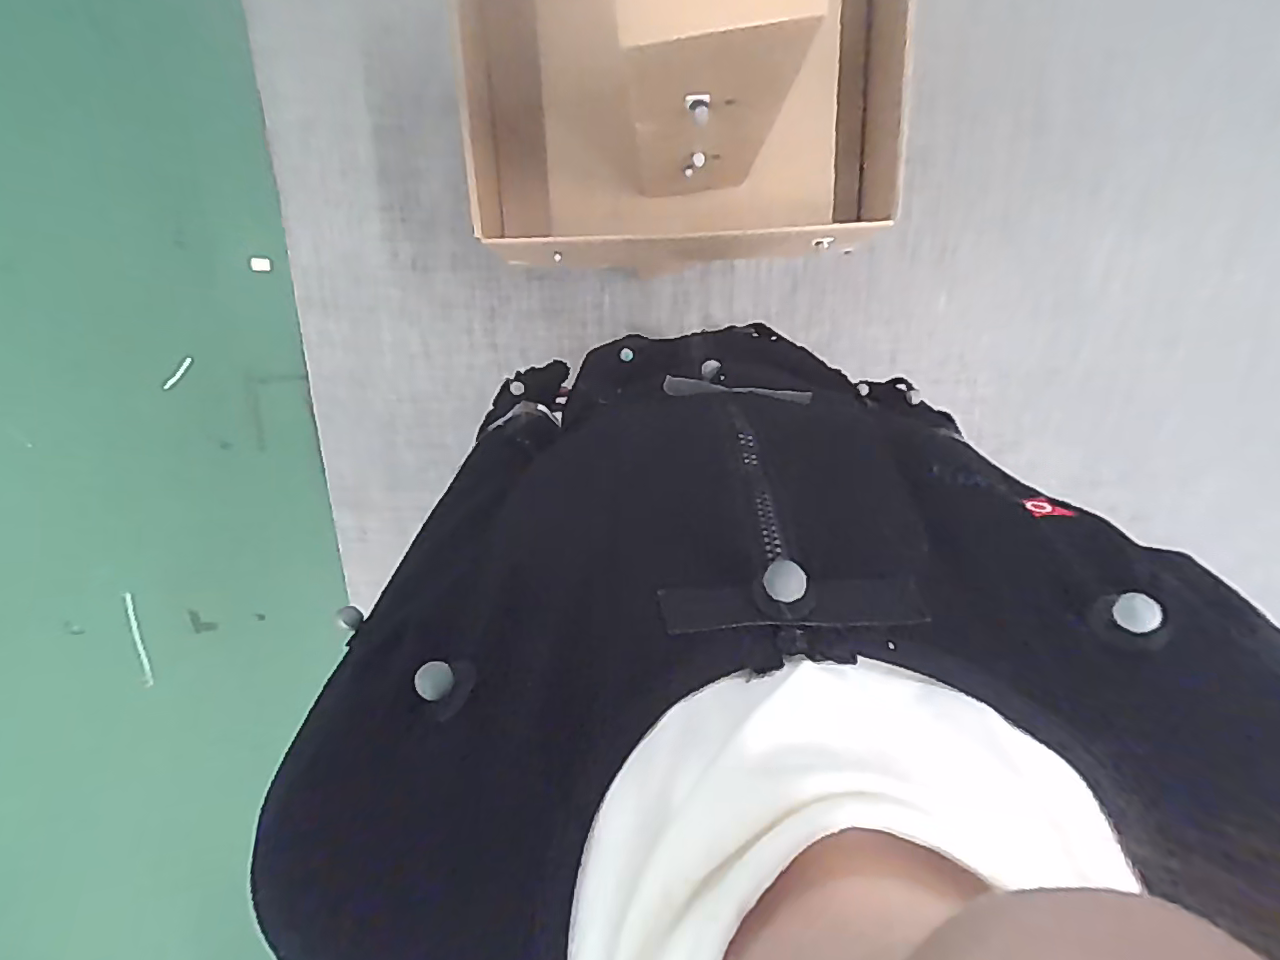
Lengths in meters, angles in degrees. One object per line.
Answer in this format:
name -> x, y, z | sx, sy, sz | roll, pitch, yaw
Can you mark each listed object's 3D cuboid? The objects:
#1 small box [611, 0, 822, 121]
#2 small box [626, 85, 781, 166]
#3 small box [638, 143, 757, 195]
small box -> 0.057, -0.459, 0.483 | 0.168, 0.176, 0.179 | -6, 105, 6
small box -> 0.064, -0.500, 0.638 | 0.168, 0.176, 0.179 | -5, 105, 4
small box -> 0.074, -0.545, 0.795 | 0.168, 0.176, 0.179 | -6, 103, 6
